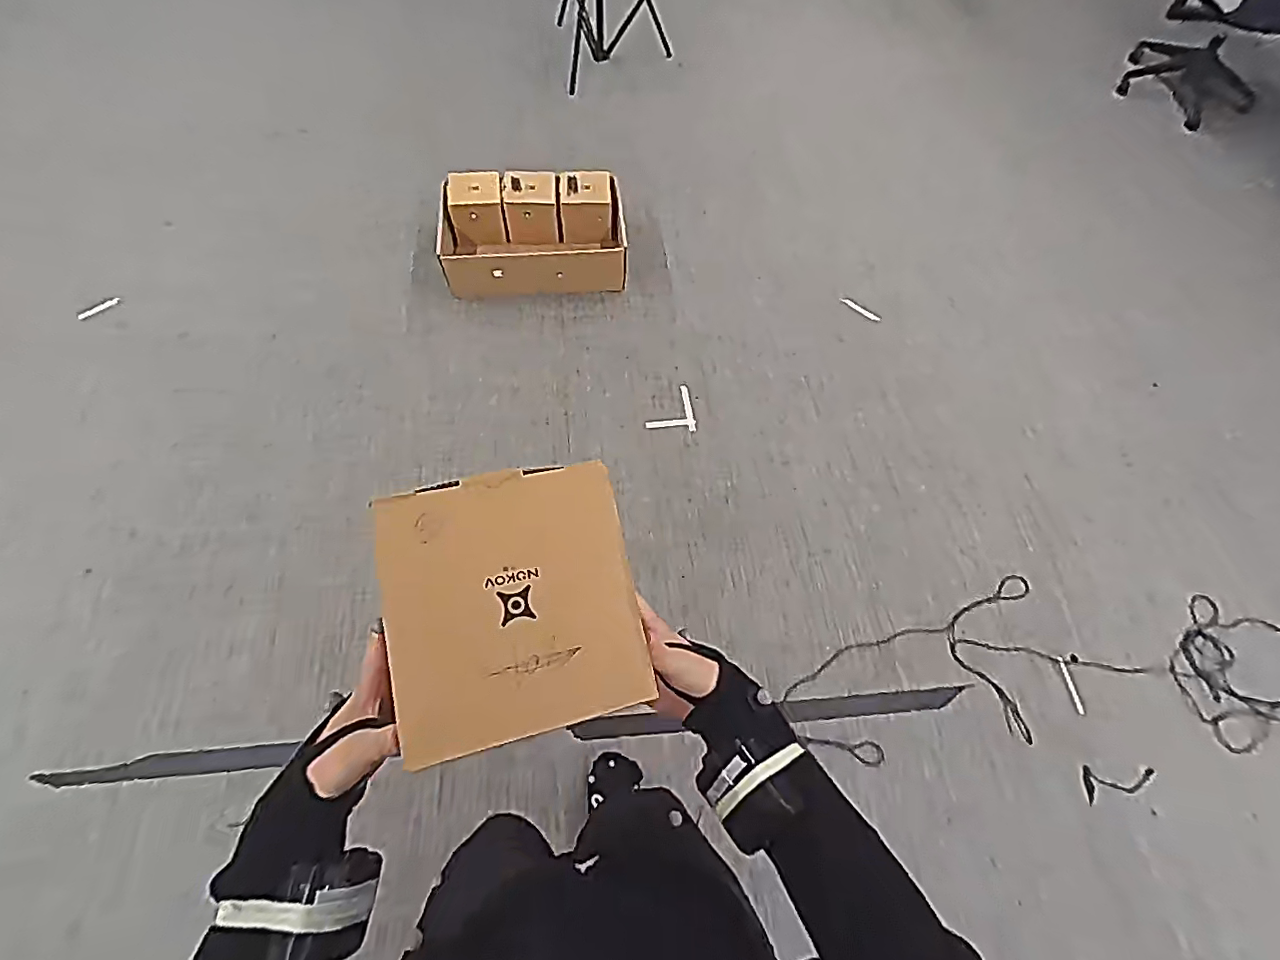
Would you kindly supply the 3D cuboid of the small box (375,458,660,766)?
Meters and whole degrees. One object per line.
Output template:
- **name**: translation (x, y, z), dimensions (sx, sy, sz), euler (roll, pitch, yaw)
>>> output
- **small box**: translation (-0.100, 0.099, 0.438), dimensions (0.168, 0.176, 0.179), euler (-11, 78, -16)
